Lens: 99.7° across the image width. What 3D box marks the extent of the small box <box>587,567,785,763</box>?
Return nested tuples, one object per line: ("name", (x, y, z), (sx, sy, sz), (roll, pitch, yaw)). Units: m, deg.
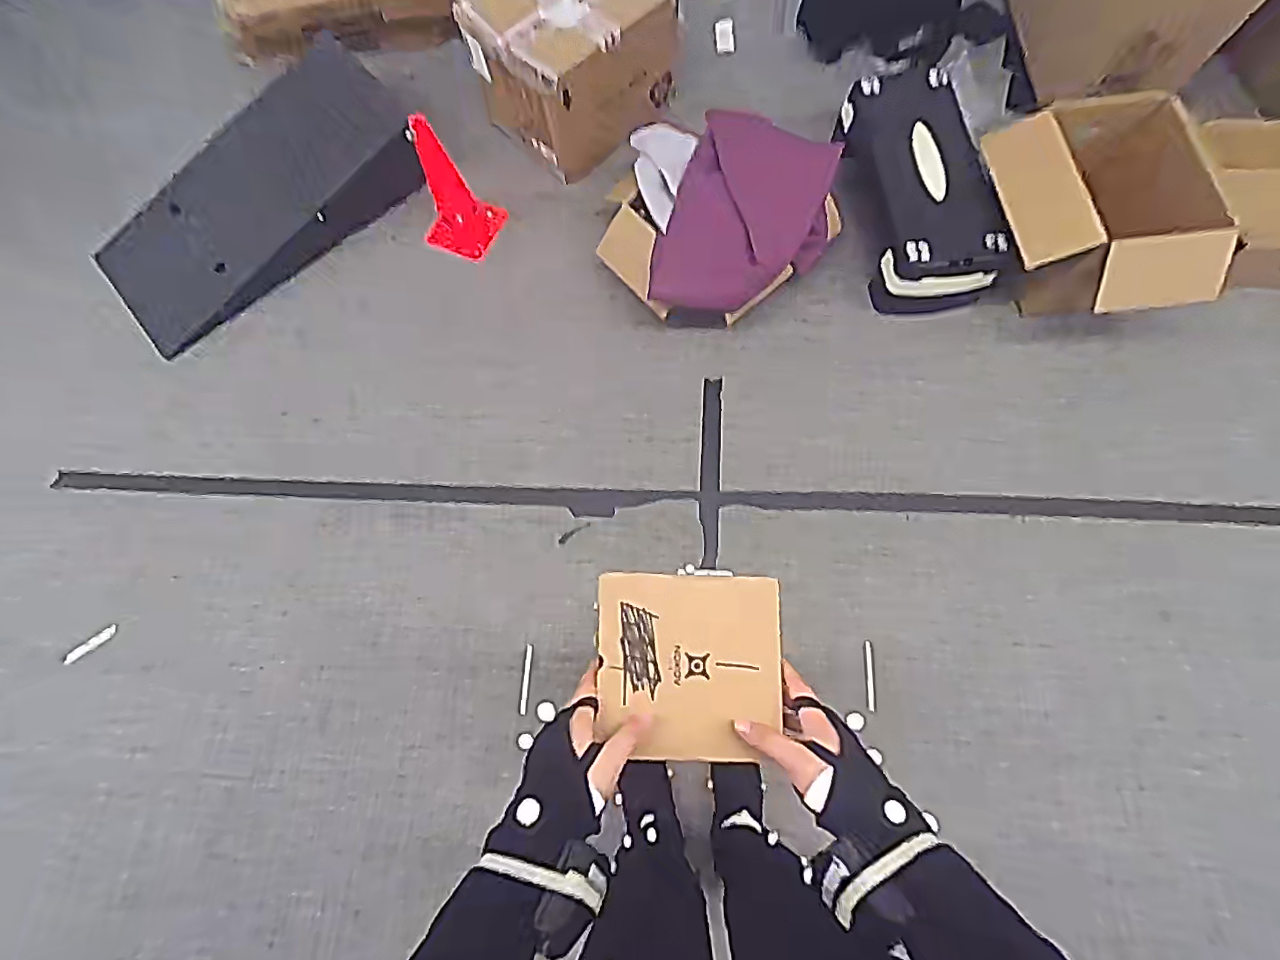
("small box", (0.043, 0.183, 0.567), (0.179, 0.176, 0.168), (1, 77, 0))
